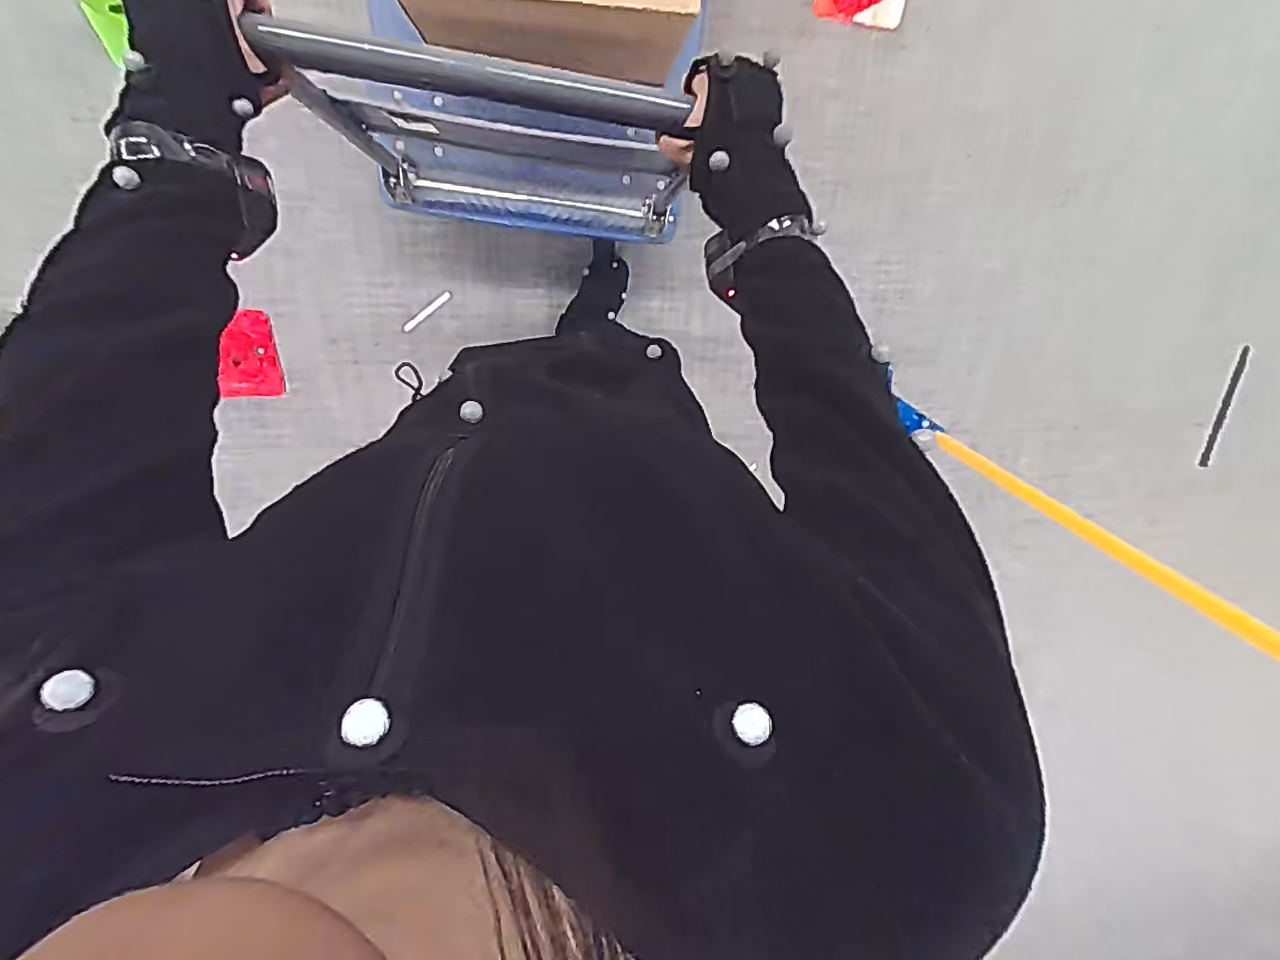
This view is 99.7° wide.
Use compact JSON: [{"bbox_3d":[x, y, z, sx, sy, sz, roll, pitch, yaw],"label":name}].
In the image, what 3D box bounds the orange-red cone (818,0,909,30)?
[{"bbox_3d":[0.498,-0.998,0.953,0.199,0.360,0.198,5,111,-10],"label":"orange-red cone"}]
